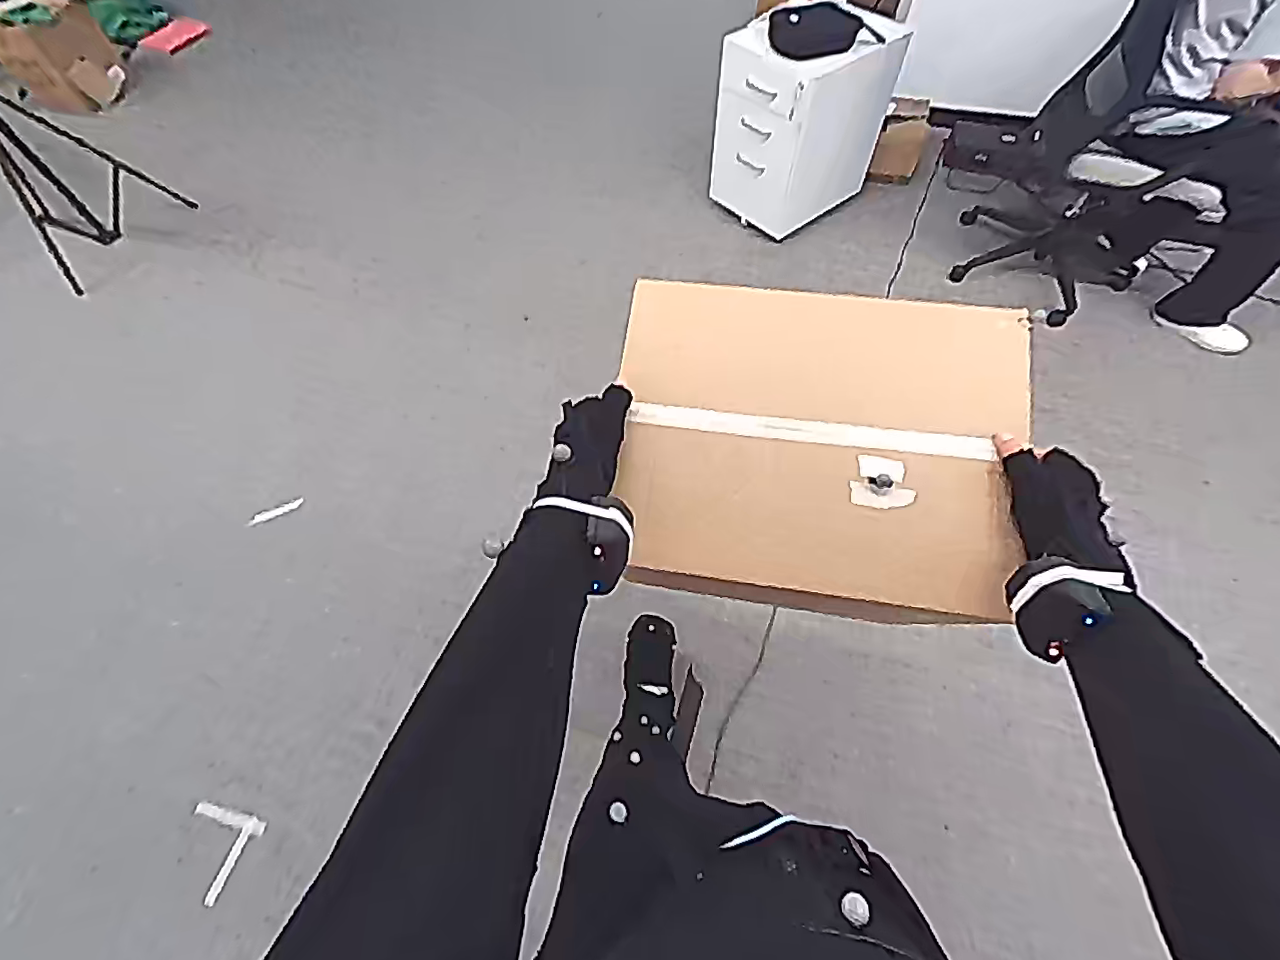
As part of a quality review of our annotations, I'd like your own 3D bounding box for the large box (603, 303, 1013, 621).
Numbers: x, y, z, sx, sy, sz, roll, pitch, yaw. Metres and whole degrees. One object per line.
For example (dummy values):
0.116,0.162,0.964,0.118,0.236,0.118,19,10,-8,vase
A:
0.186,0.001,0.709,0.408,0.320,0.320,7,77,6,large box
